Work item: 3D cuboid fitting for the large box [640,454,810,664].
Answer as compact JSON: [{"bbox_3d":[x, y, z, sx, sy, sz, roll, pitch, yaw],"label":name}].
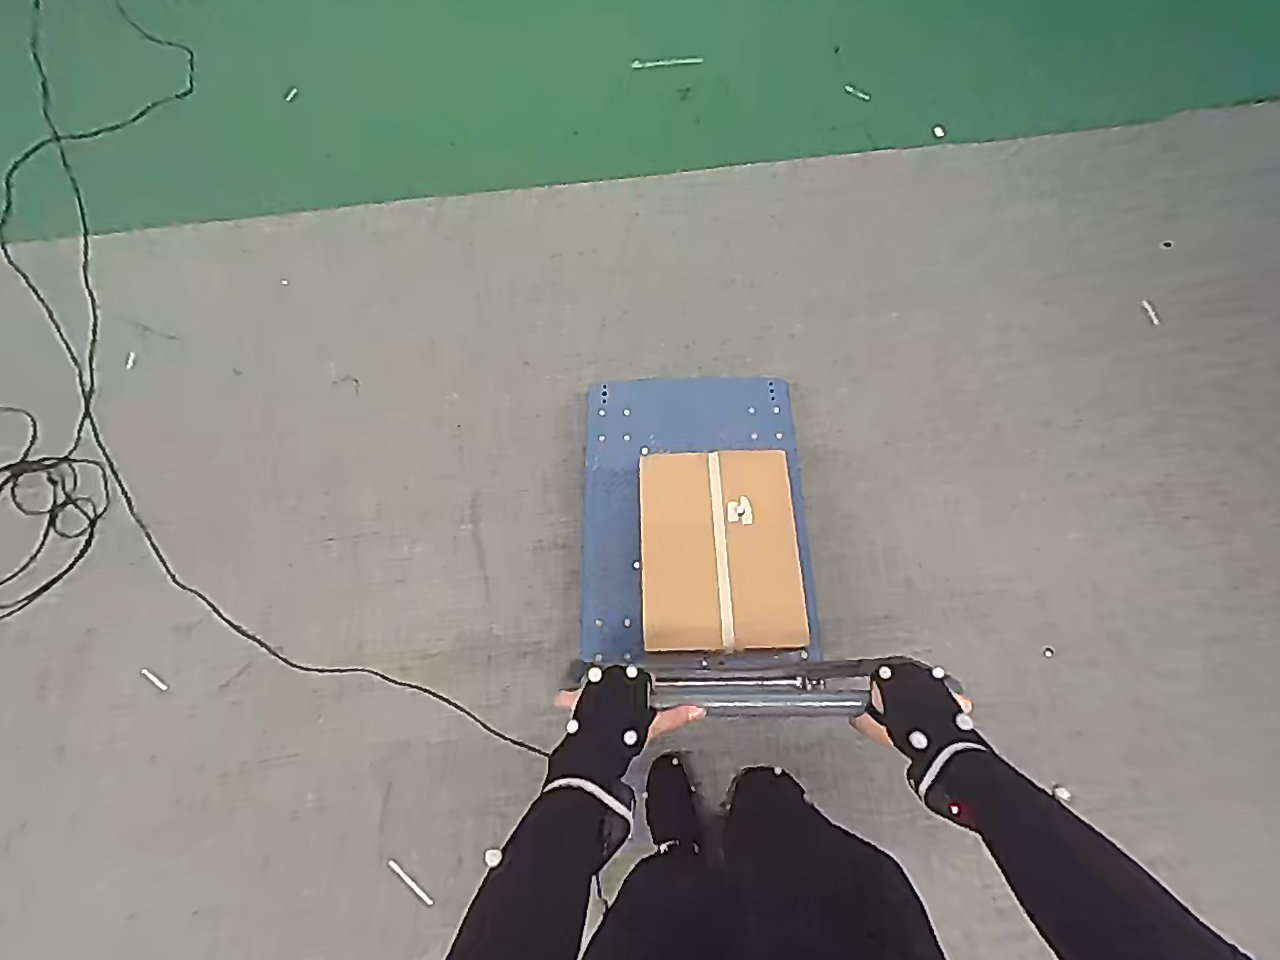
[{"bbox_3d":[0.164,0.191,1.219,0.320,0.320,0.408,-1,68,0],"label":"large box"}]
